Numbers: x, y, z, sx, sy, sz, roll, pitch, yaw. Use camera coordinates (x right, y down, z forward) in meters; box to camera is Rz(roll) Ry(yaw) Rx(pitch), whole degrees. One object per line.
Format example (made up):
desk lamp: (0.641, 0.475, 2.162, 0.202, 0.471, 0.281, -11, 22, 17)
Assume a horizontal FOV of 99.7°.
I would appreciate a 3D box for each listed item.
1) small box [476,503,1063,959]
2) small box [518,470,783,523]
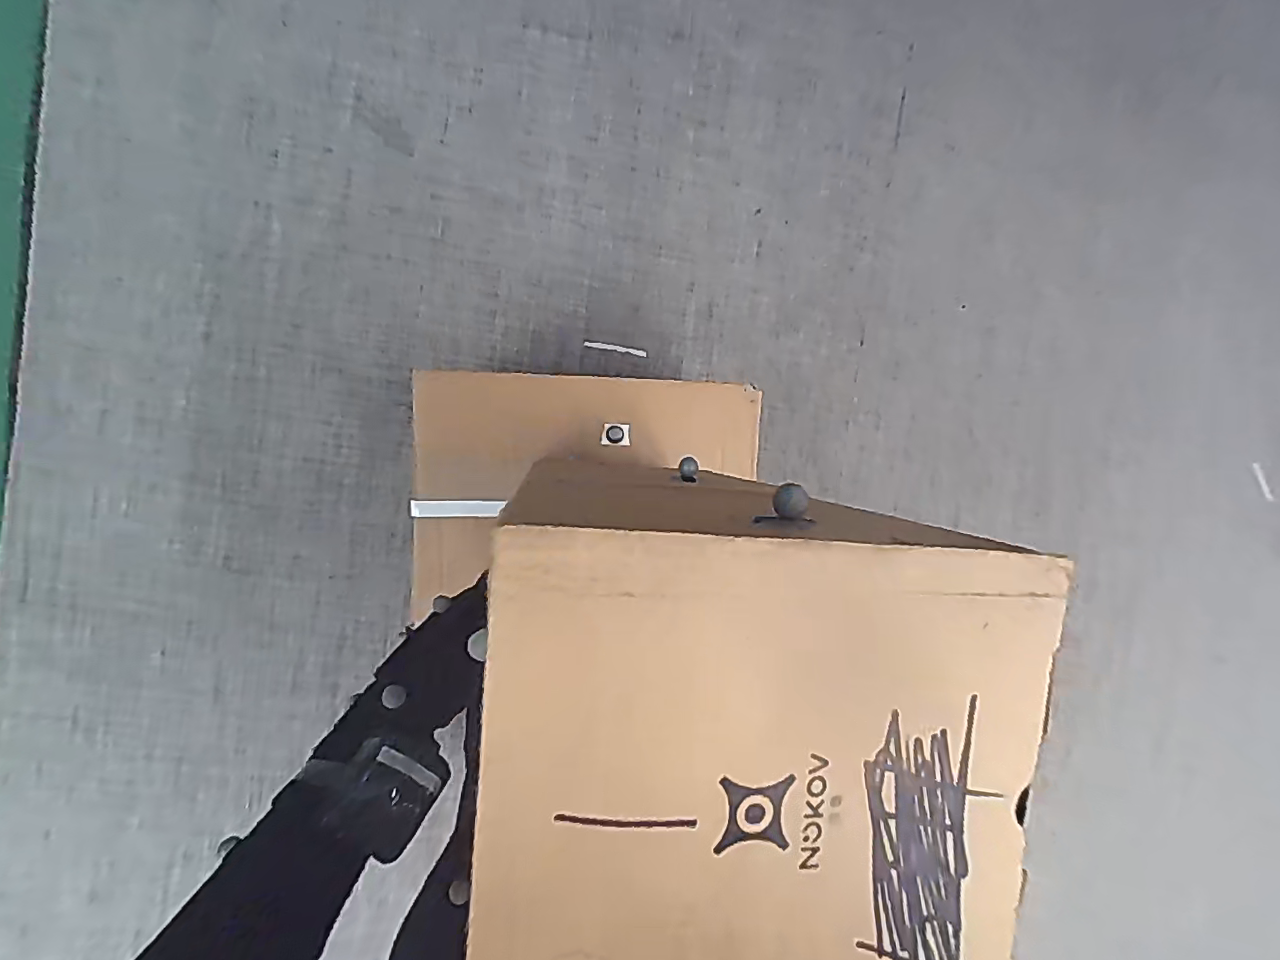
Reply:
small box: (0.028, 0.099, 0.234, 0.179, 0.176, 0.168, 1, 93, -10)
small box: (-0.003, 0.089, 0.394, 0.168, 0.176, 0.179, 3, 94, -9)
